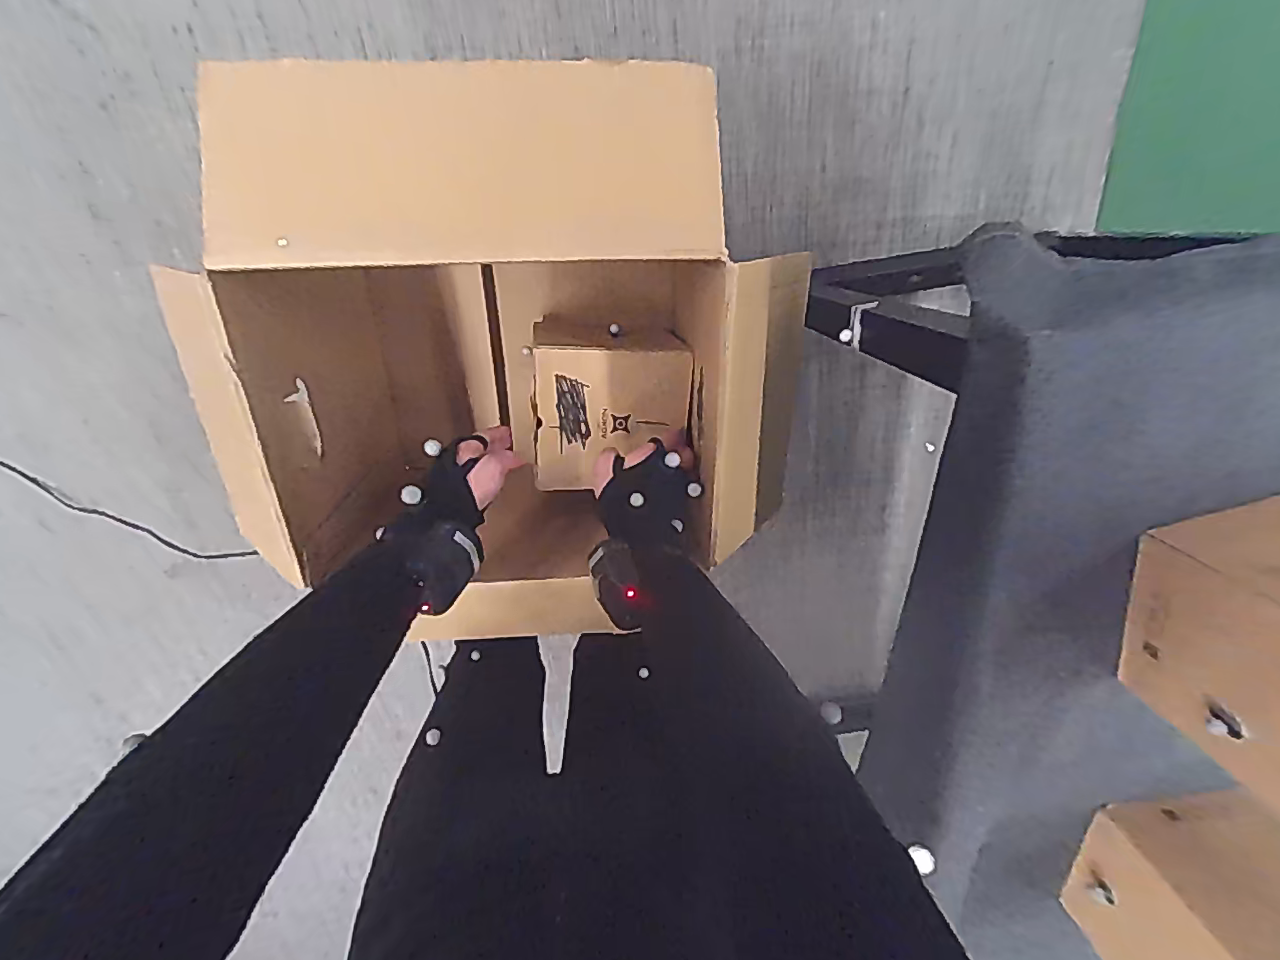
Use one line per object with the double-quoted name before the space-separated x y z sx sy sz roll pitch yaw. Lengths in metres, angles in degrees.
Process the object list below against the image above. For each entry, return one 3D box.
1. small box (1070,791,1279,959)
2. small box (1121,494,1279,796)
"small box" 0.581 0.447 0.537 0.168 0.176 0.179 -6 115 -2
"small box" 0.502 0.119 0.385 0.179 0.176 0.168 -17 116 1
